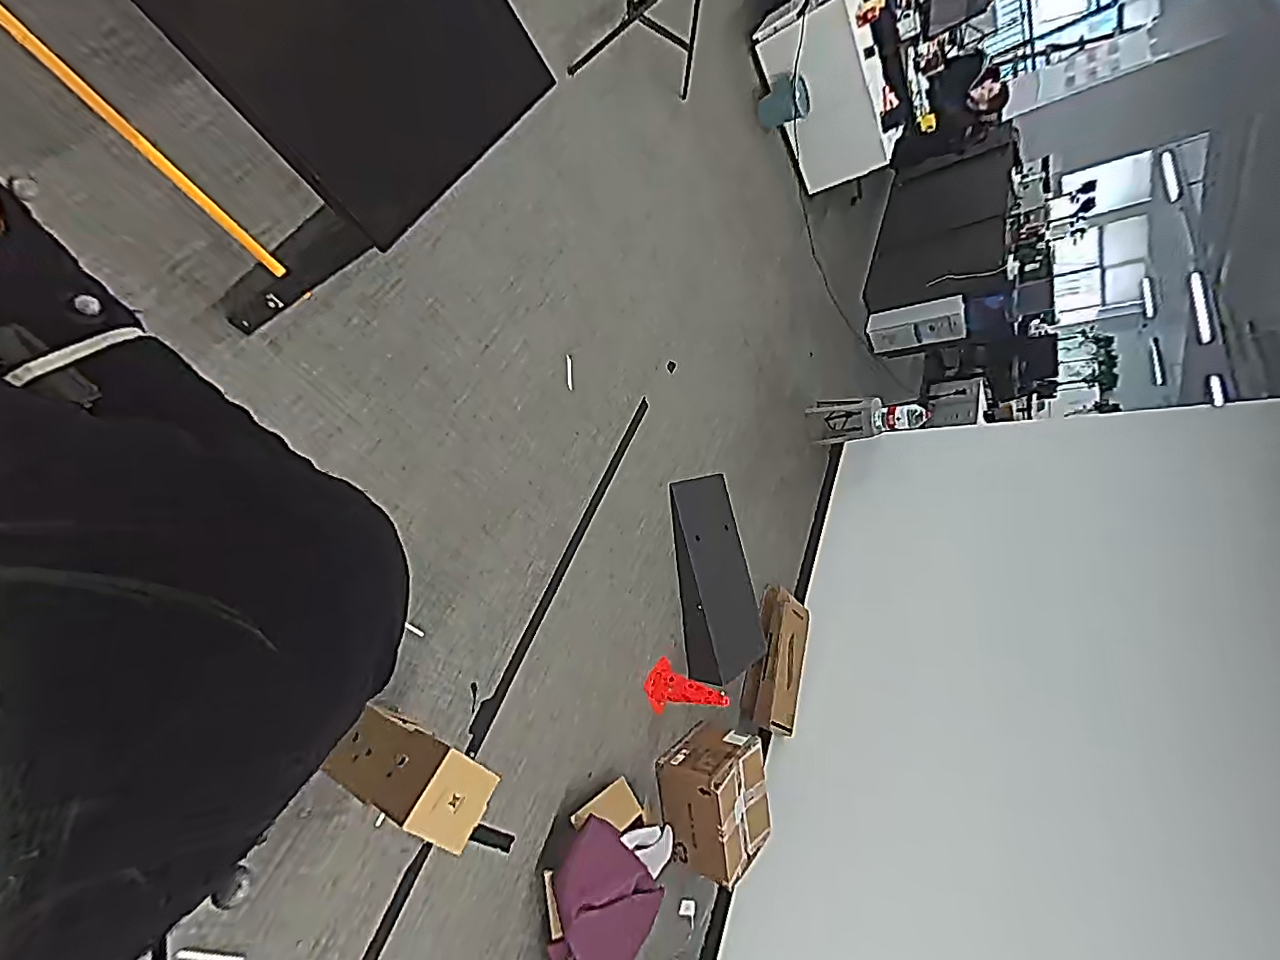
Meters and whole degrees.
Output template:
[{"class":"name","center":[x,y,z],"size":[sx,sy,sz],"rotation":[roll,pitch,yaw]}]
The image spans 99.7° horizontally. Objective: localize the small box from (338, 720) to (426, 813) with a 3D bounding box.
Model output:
[{"class":"small box","center":[-0.581,0.703,1.307],"size":[0.179,0.176,0.168],"rotation":[50,52,-36]}]

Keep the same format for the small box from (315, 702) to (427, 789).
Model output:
[{"class":"small box","center":[-0.706,0.704,1.414],"size":[0.168,0.176,0.179],"rotation":[46,55,-39]}]

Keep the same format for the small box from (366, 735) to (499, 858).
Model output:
[{"class":"small box","center":[-0.459,0.693,1.200],"size":[0.179,0.176,0.168],"rotation":[54,49,-32]}]
